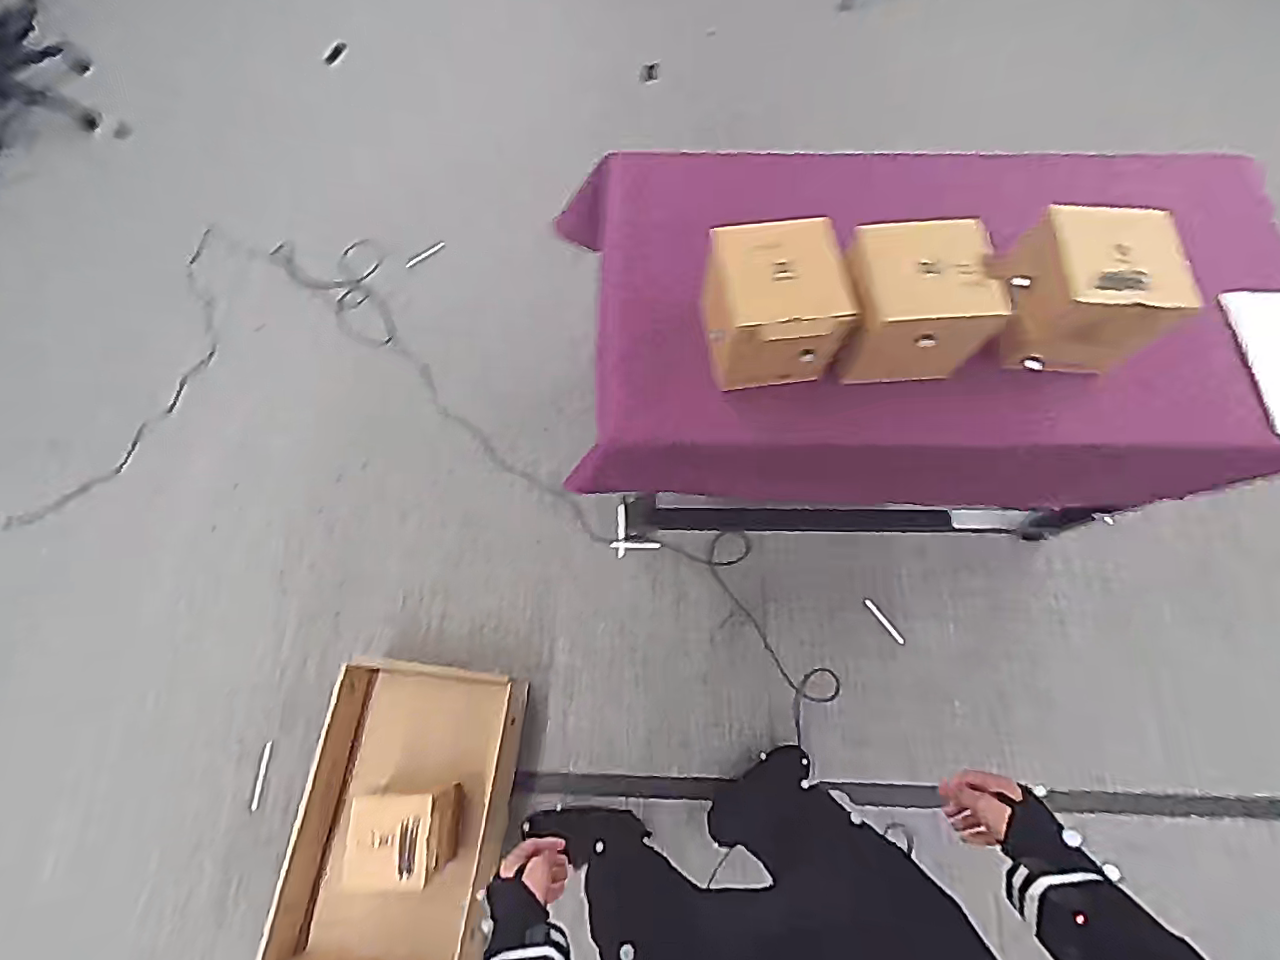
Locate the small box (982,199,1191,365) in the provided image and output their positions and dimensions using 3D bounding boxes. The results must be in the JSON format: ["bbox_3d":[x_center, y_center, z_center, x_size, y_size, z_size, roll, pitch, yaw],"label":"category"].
[{"bbox_3d":[0.660,-0.293,0.826,0.168,0.176,0.179,3,70,2],"label":"small box"}]

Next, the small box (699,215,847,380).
[{"bbox_3d":[0.188,-0.264,0.821,0.168,0.176,0.179,-7,70,-3],"label":"small box"}]
